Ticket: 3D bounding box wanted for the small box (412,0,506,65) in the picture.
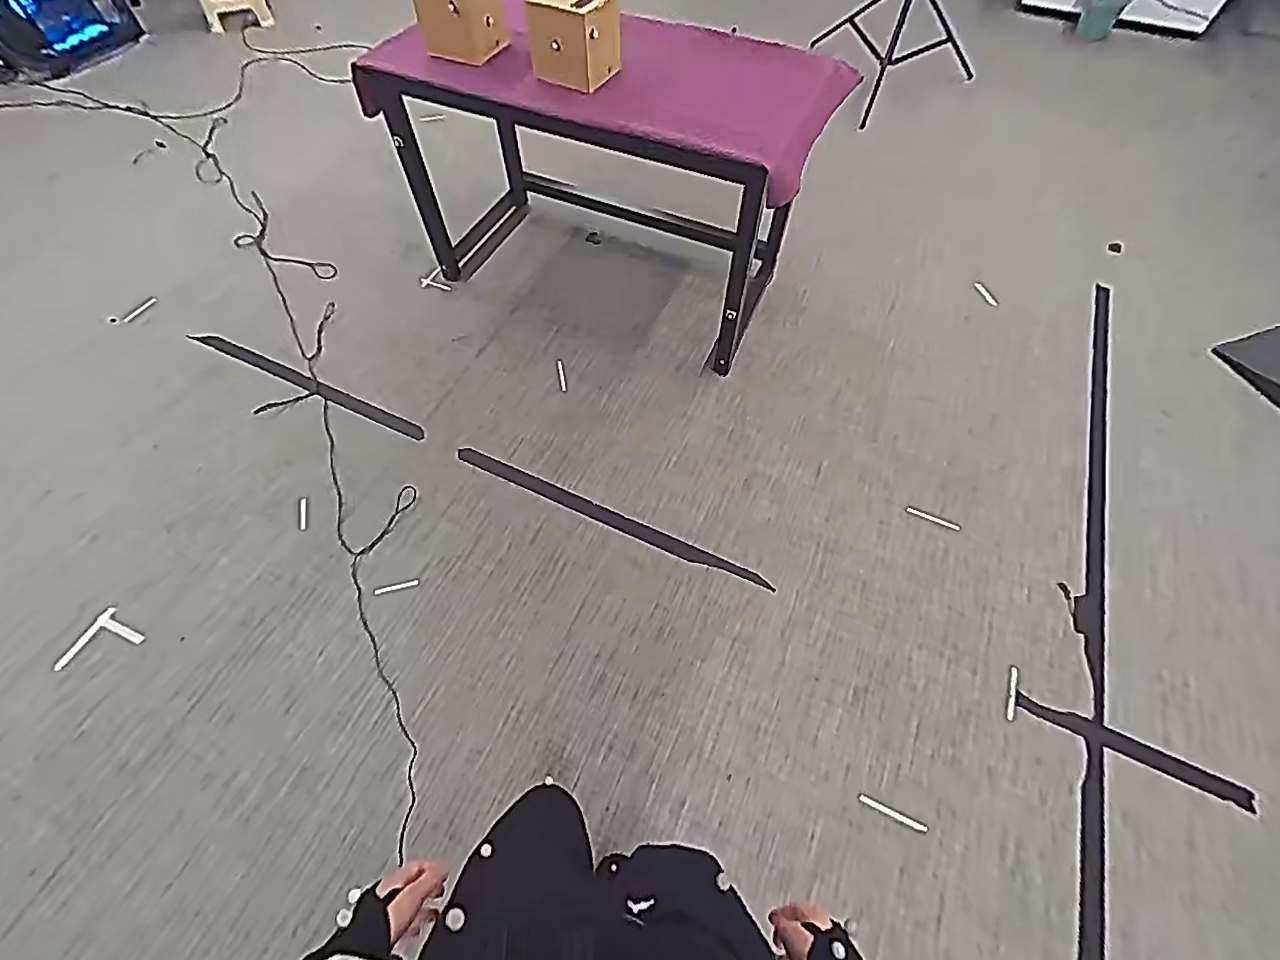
[{"bbox_3d":[-0.485,-1.259,1.462,0.179,0.176,0.168,19,60,11],"label":"small box"}]
